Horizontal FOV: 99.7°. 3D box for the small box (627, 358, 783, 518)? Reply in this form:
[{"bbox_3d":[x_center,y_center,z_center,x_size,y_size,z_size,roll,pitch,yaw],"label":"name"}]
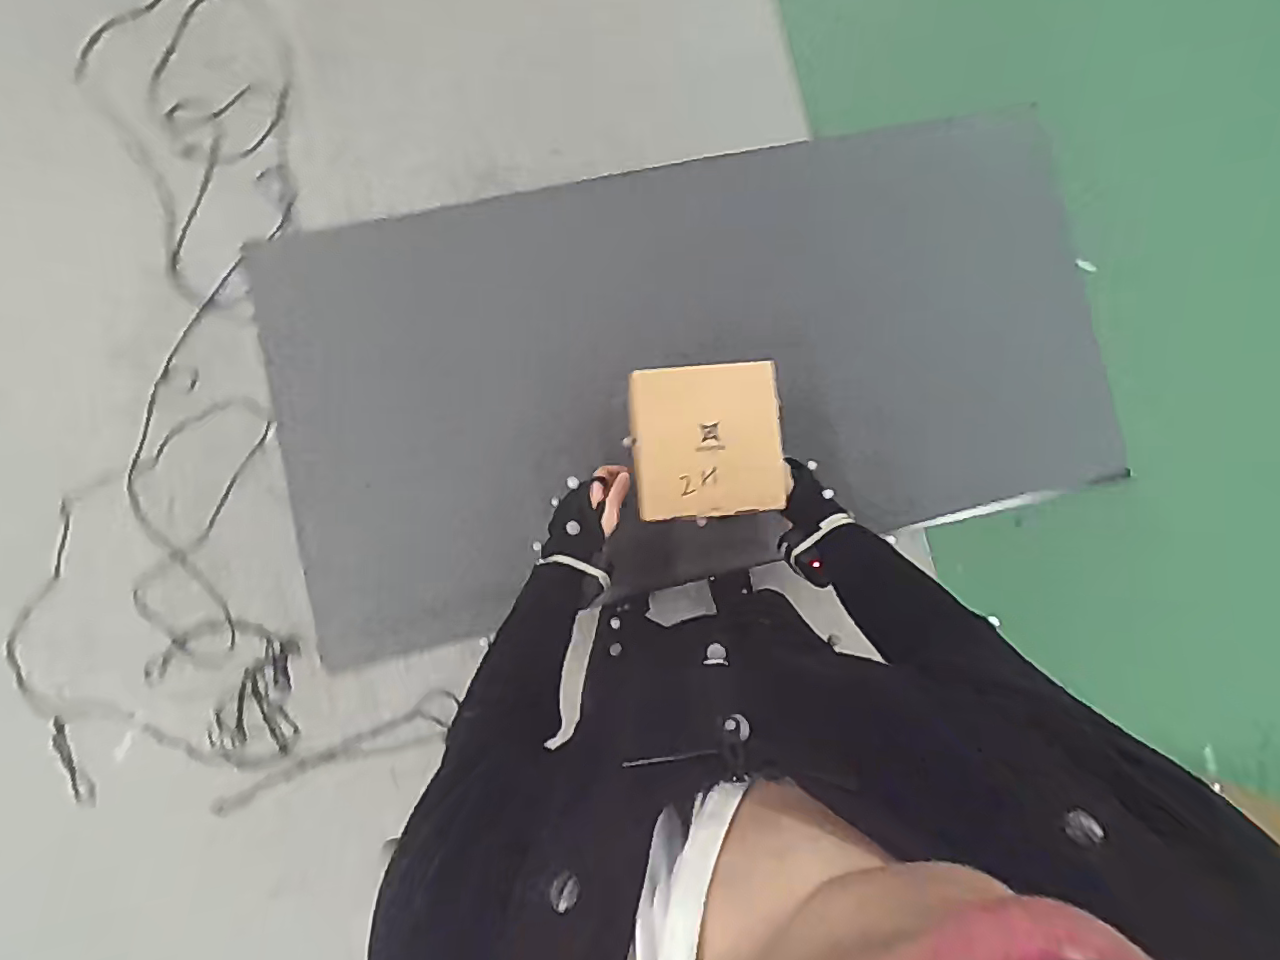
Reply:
[{"bbox_3d":[0.071,-0.043,0.689,0.168,0.176,0.179,-4,87,-2],"label":"small box"}]
